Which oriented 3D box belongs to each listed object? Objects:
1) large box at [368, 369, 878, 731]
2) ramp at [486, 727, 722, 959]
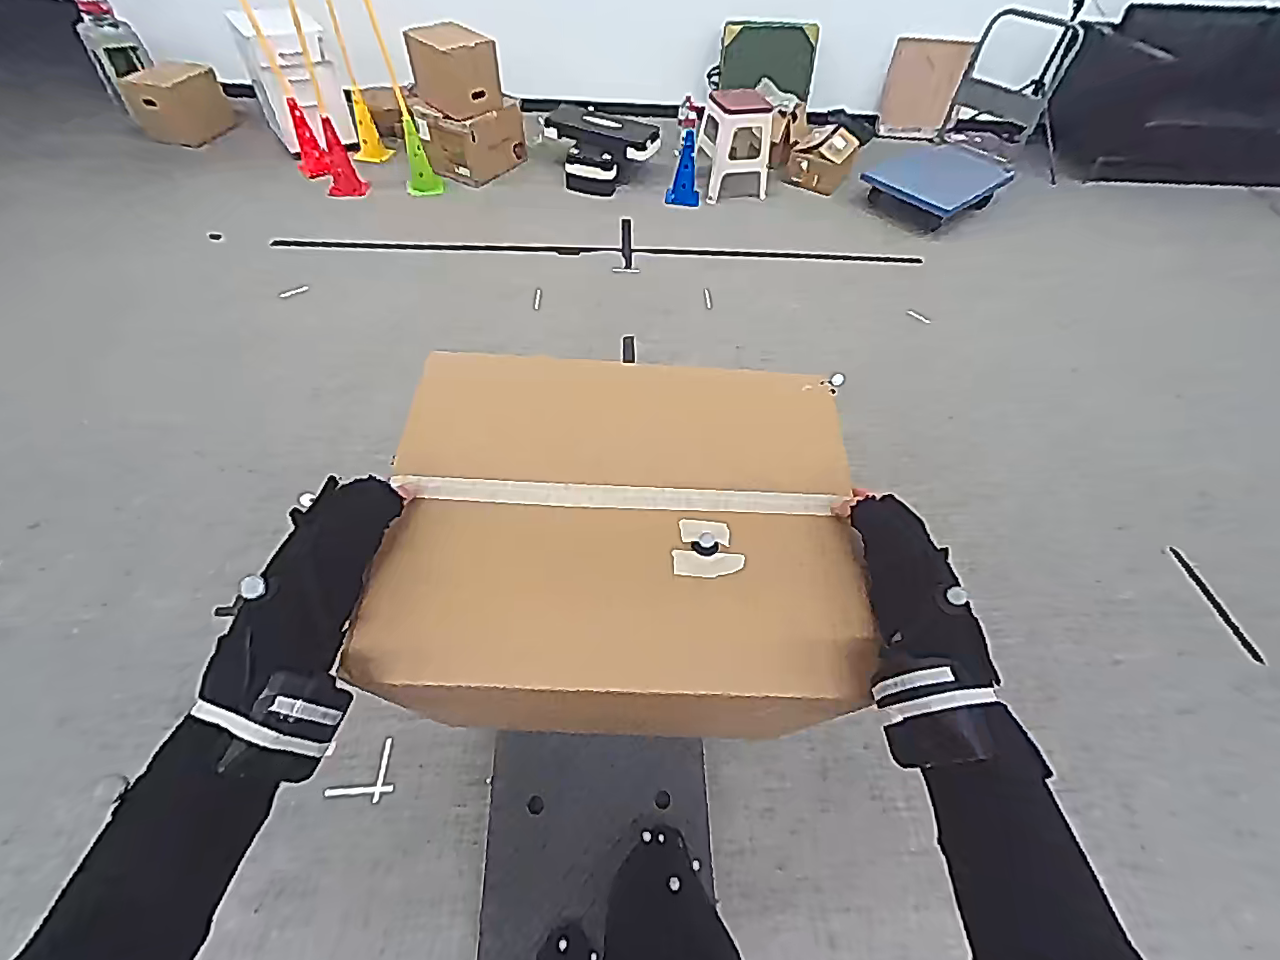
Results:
[{"bbox_3d":[-0.018,0.100,0.617,0.408,0.320,0.320,3,60,-2],"label":"large box"},{"bbox_3d":[-0.085,0.541,1.338,0.509,0.206,0.991,-1,52,-5],"label":"ramp"}]
